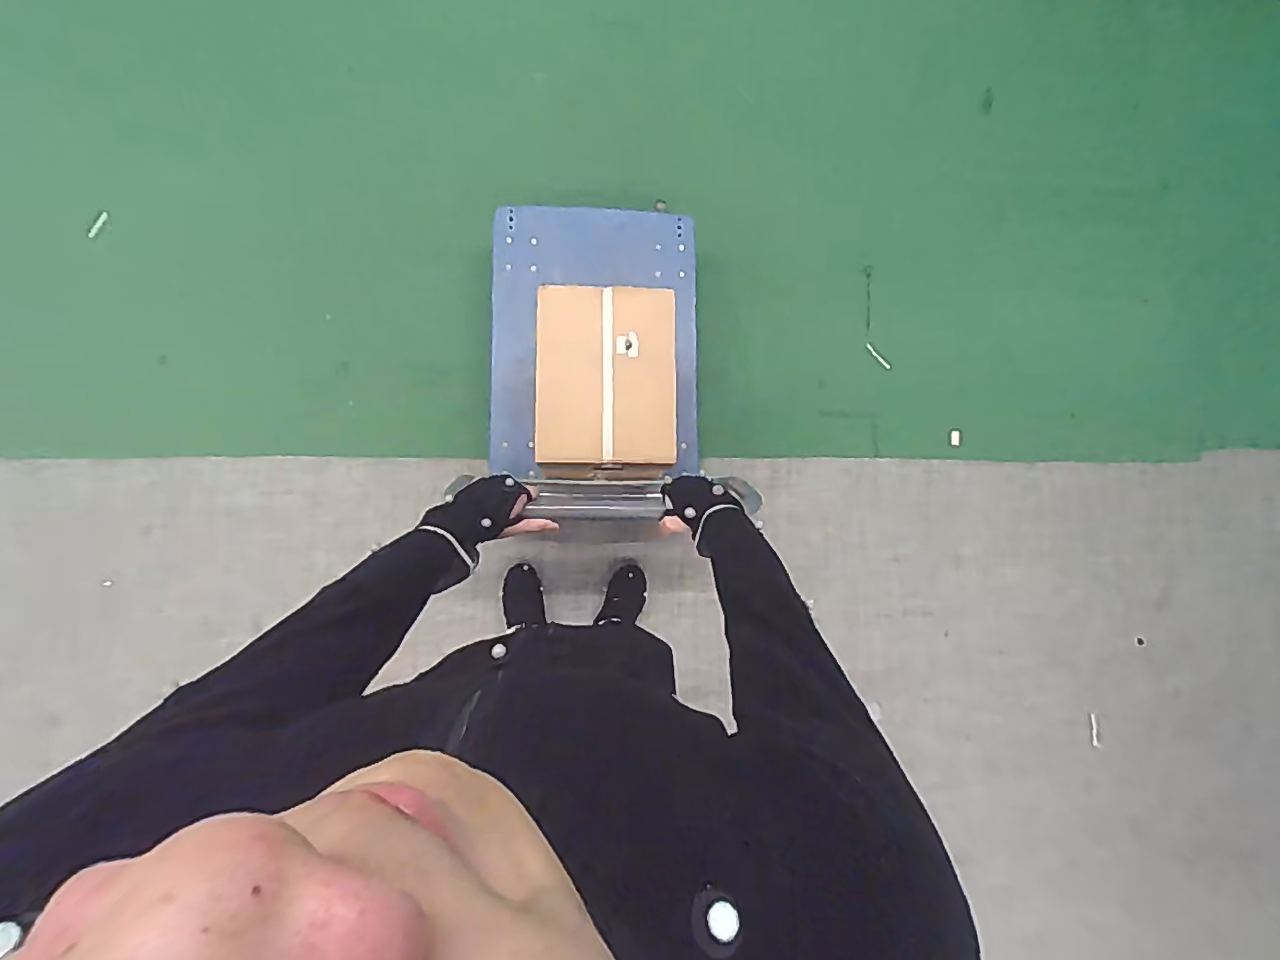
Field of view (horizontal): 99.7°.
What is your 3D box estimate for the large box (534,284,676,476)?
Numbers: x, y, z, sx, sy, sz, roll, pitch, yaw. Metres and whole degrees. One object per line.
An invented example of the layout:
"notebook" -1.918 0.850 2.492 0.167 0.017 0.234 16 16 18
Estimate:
"large box" -0.091 -0.227 1.349 0.320 0.320 0.408 0 84 -6
